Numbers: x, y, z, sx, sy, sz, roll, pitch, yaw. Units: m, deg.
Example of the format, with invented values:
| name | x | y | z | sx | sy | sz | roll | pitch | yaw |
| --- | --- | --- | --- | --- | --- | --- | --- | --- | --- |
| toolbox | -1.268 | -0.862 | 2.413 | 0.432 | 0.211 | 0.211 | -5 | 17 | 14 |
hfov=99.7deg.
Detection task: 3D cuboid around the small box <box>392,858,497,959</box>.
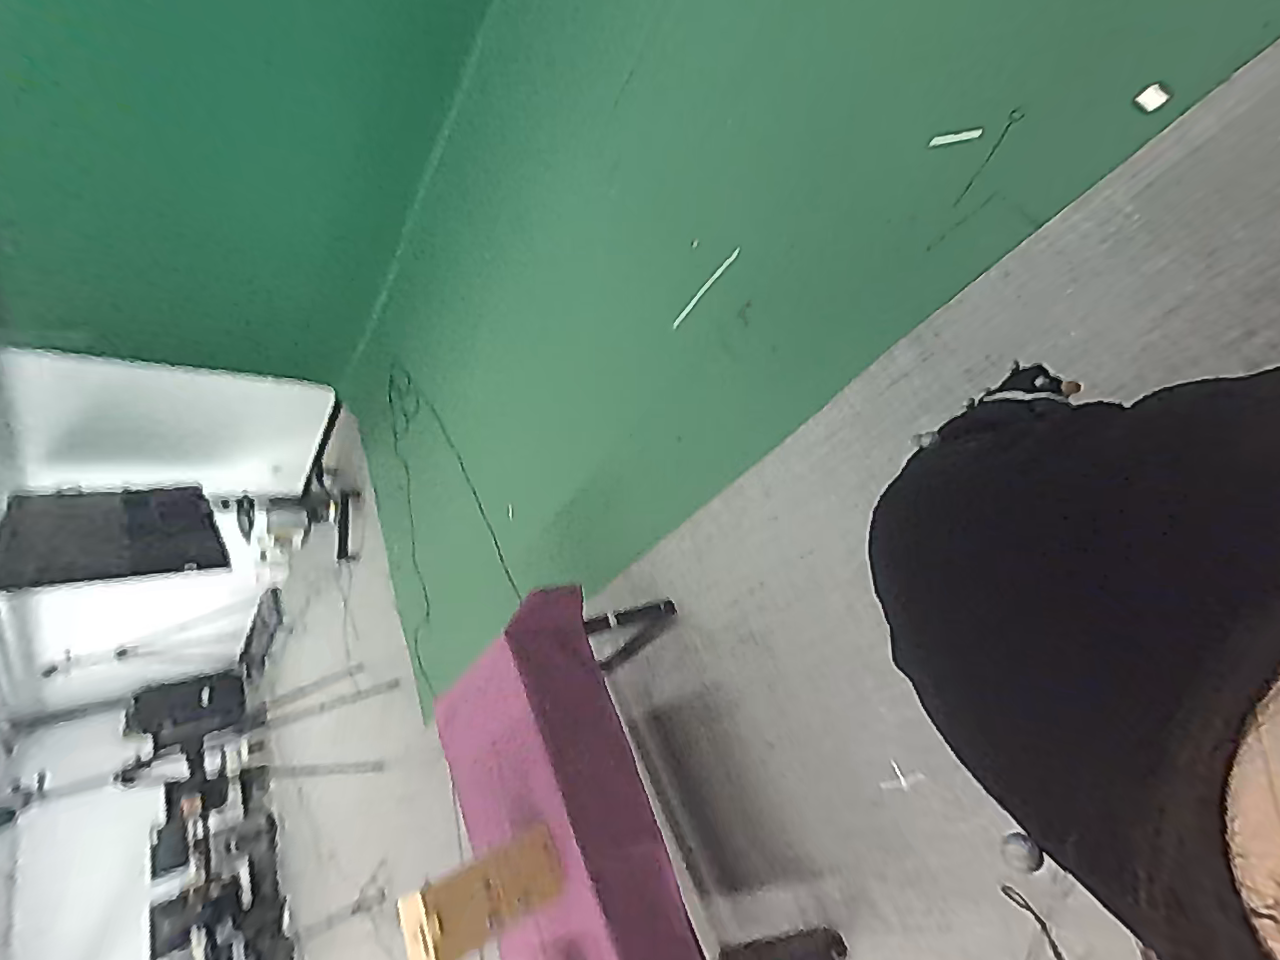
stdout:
| name | x | y | z | sx | sy | sz | roll | pitch | yaw |
| --- | --- | --- | --- | --- | --- | --- | --- | --- | --- |
| small box | -0.450 | 1.016 | 1.256 | 0.179 | 0.176 | 0.168 | -48 | 58 | 36 |
